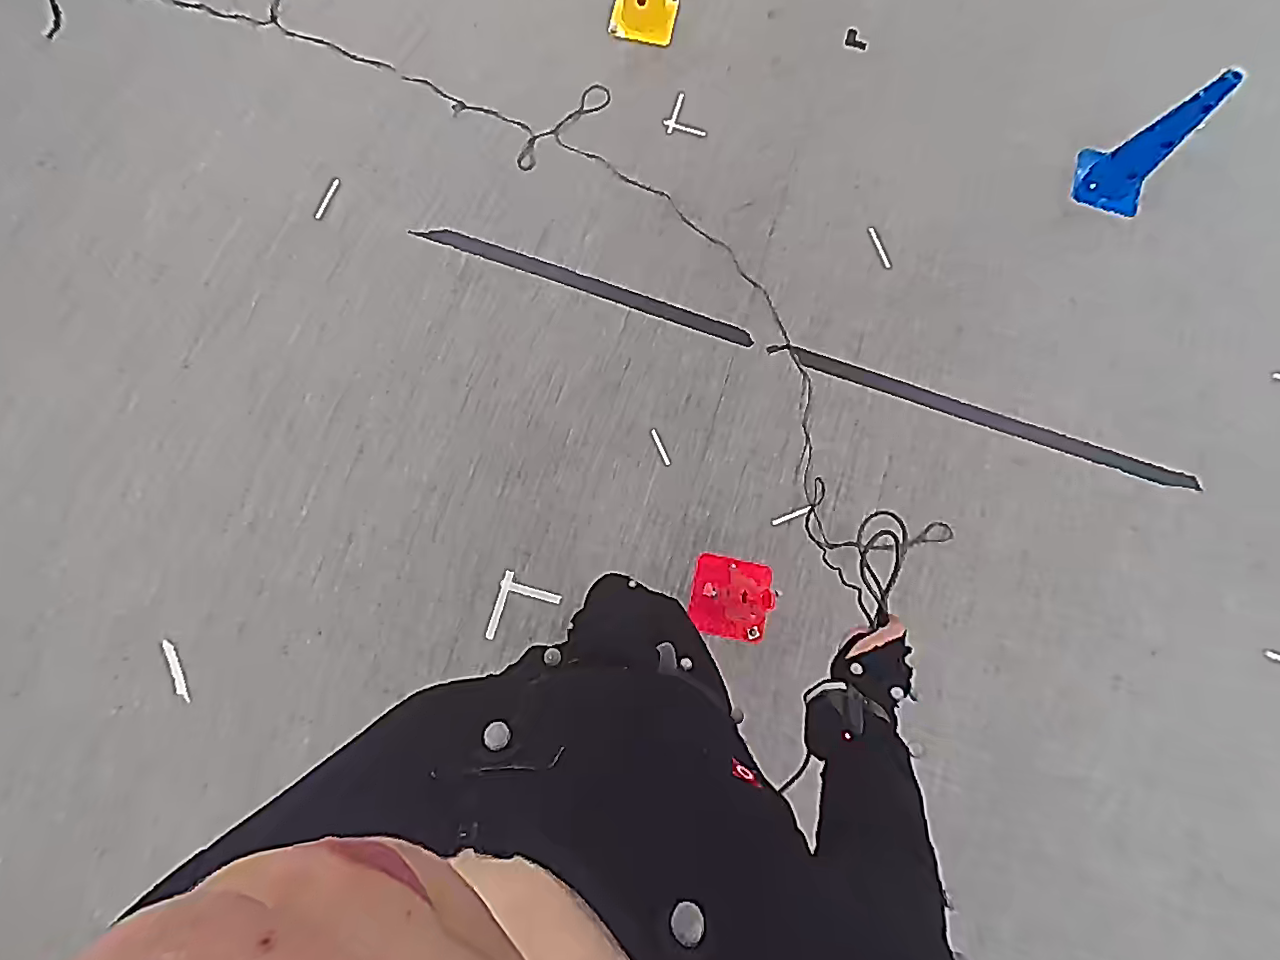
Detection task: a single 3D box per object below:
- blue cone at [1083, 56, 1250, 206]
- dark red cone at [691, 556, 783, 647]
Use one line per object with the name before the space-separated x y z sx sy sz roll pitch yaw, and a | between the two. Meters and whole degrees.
blue cone | 1.458 -0.967 1.493 0.193 0.380 0.192 19 78 2
dark red cone | 0.239 0.263 1.177 0.202 0.394 0.201 11 77 0
